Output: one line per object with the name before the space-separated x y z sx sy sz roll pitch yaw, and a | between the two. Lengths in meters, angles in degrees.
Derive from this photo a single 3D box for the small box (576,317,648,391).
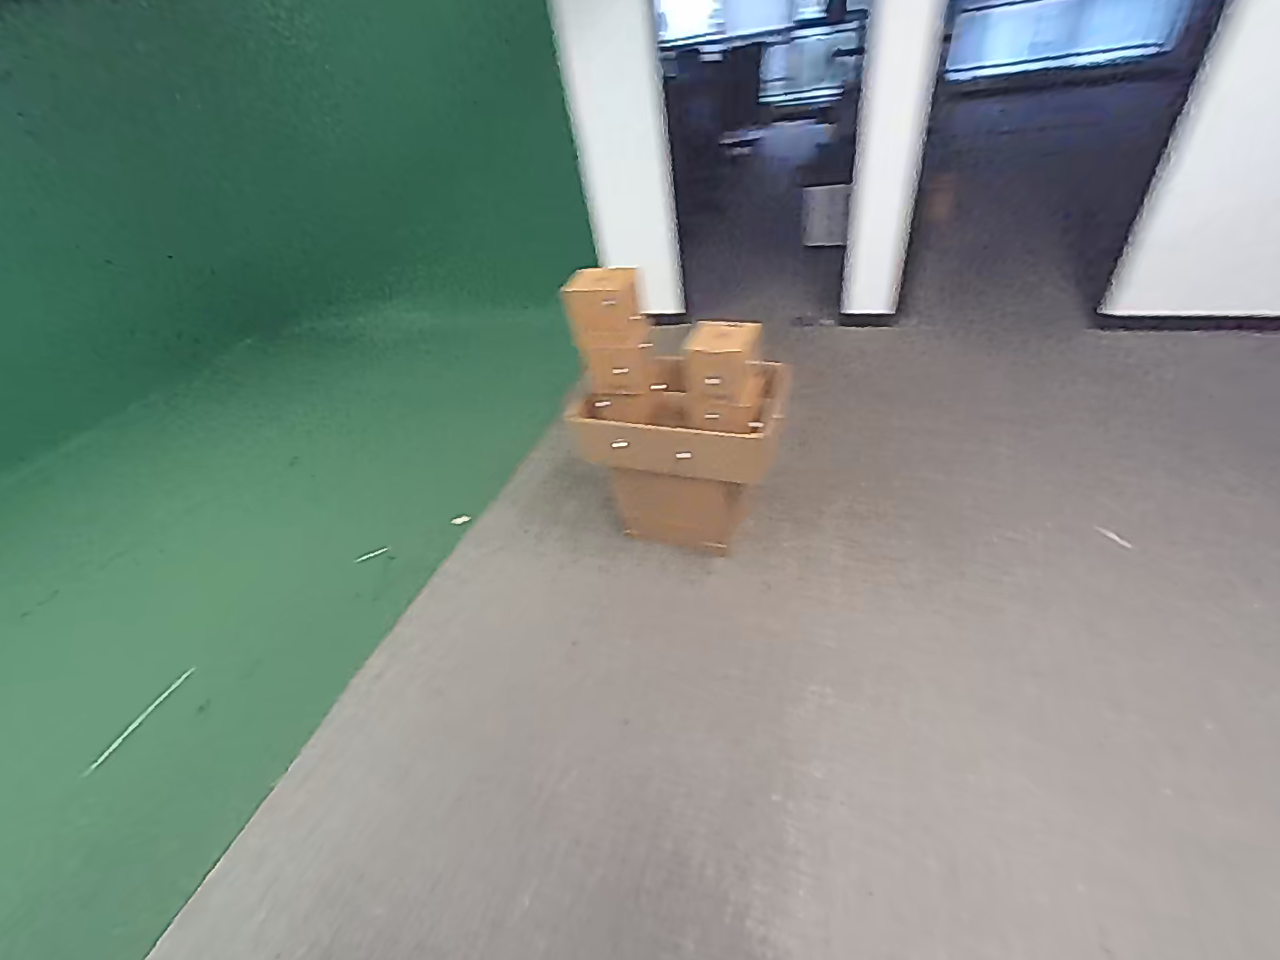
small box | -0.079 -0.389 1.680 0.168 0.176 0.179 5 43 17

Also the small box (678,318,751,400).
small box | 0.223 -0.349 1.563 0.168 0.176 0.179 10 46 22

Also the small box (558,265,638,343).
small box | -0.116 -0.511 1.579 0.179 0.176 0.168 4 43 16
